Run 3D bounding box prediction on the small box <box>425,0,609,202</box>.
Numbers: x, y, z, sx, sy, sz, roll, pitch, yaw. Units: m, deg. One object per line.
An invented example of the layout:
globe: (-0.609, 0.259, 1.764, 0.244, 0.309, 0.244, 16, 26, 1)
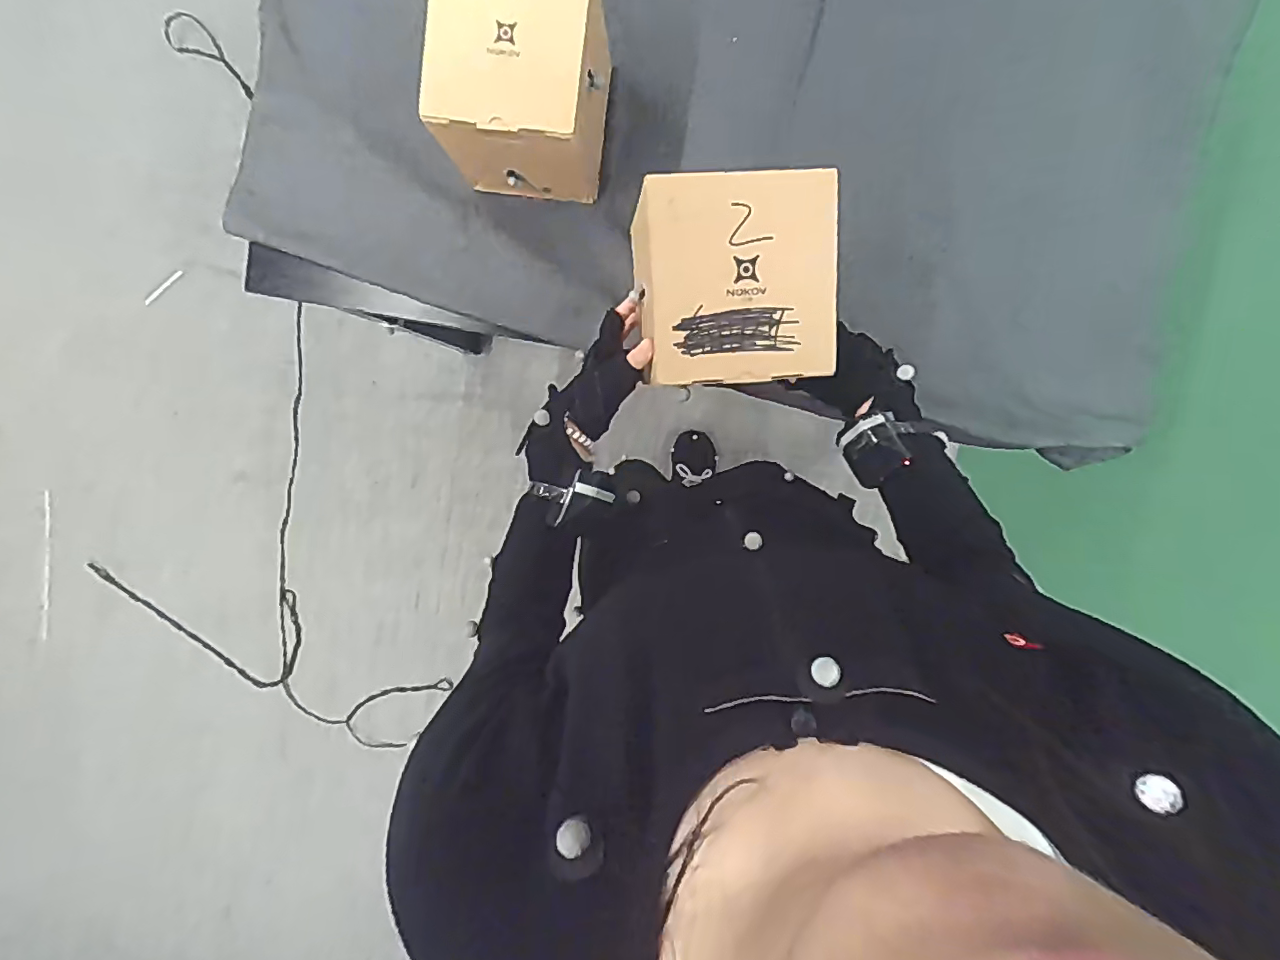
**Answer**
small box: (-0.132, -0.461, 0.638, 0.168, 0.176, 0.179, 8, 97, 1)
